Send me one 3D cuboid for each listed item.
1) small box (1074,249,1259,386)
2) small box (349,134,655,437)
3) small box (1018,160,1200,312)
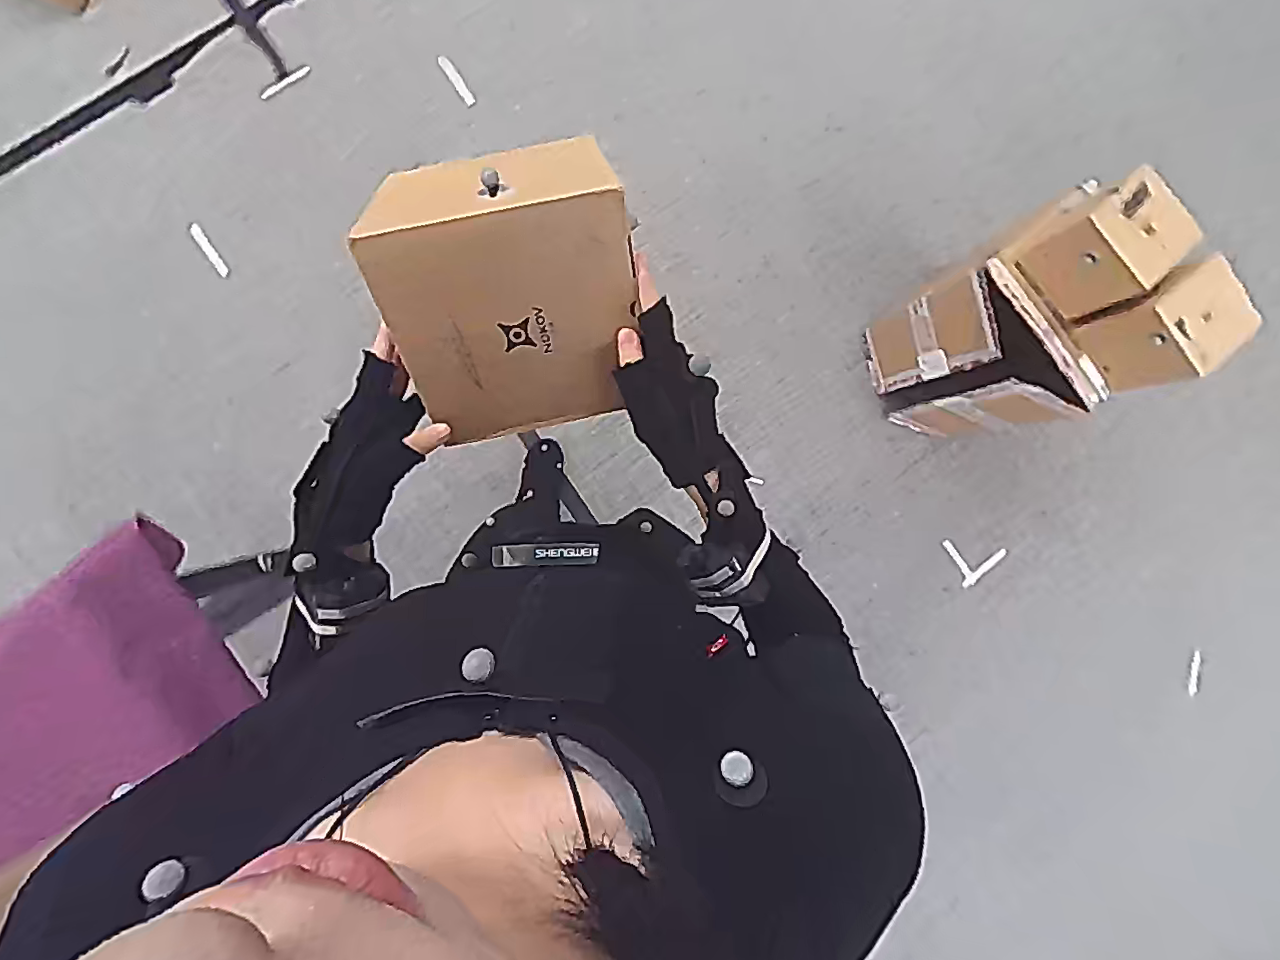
[{"bbox_3d":[1.024,-0.310,1.065,0.179,0.176,0.168,-39,95,-6],"label":"small box"},{"bbox_3d":[-0.095,-0.162,0.438,0.179,0.176,0.168,-12,131,-2],"label":"small box"},{"bbox_3d":[0.897,-0.462,1.053,0.168,0.176,0.179,-42,93,-6],"label":"small box"}]
